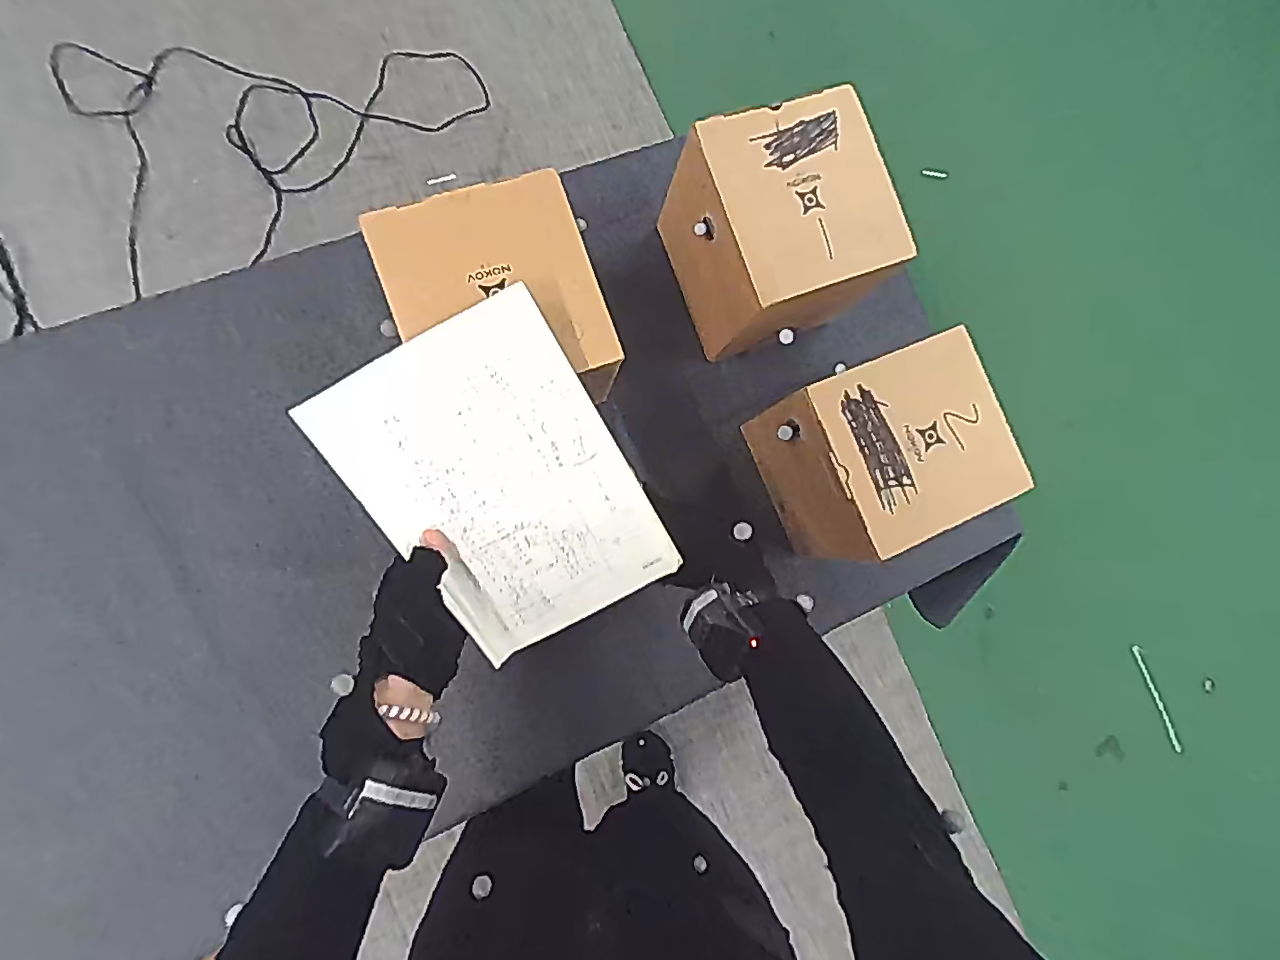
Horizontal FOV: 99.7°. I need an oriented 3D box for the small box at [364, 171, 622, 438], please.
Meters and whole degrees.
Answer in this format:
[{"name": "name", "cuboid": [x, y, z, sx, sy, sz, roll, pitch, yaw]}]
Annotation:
[{"name": "small box", "cuboid": [-0.128, -0.148, 0.520, 0.168, 0.176, 0.179, -20, 88, -10]}]
